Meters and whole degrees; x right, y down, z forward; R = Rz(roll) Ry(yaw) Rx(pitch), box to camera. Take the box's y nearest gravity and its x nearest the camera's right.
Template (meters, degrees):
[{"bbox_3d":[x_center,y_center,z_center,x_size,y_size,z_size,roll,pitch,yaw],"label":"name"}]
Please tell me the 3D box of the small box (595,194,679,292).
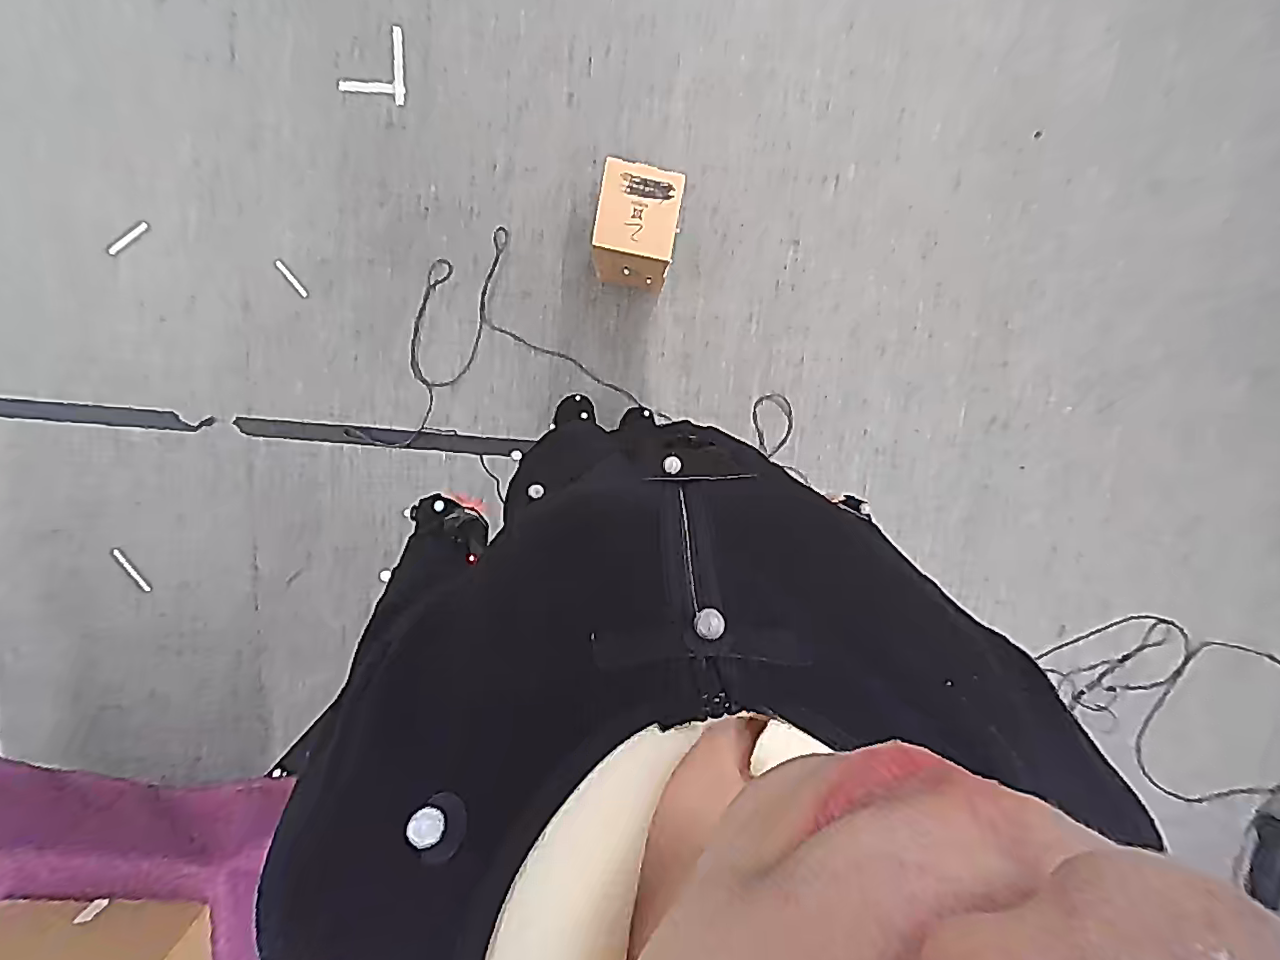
[{"bbox_3d":[-0.011,-0.577,1.337,0.179,0.176,0.168,9,97,-4],"label":"small box"}]
